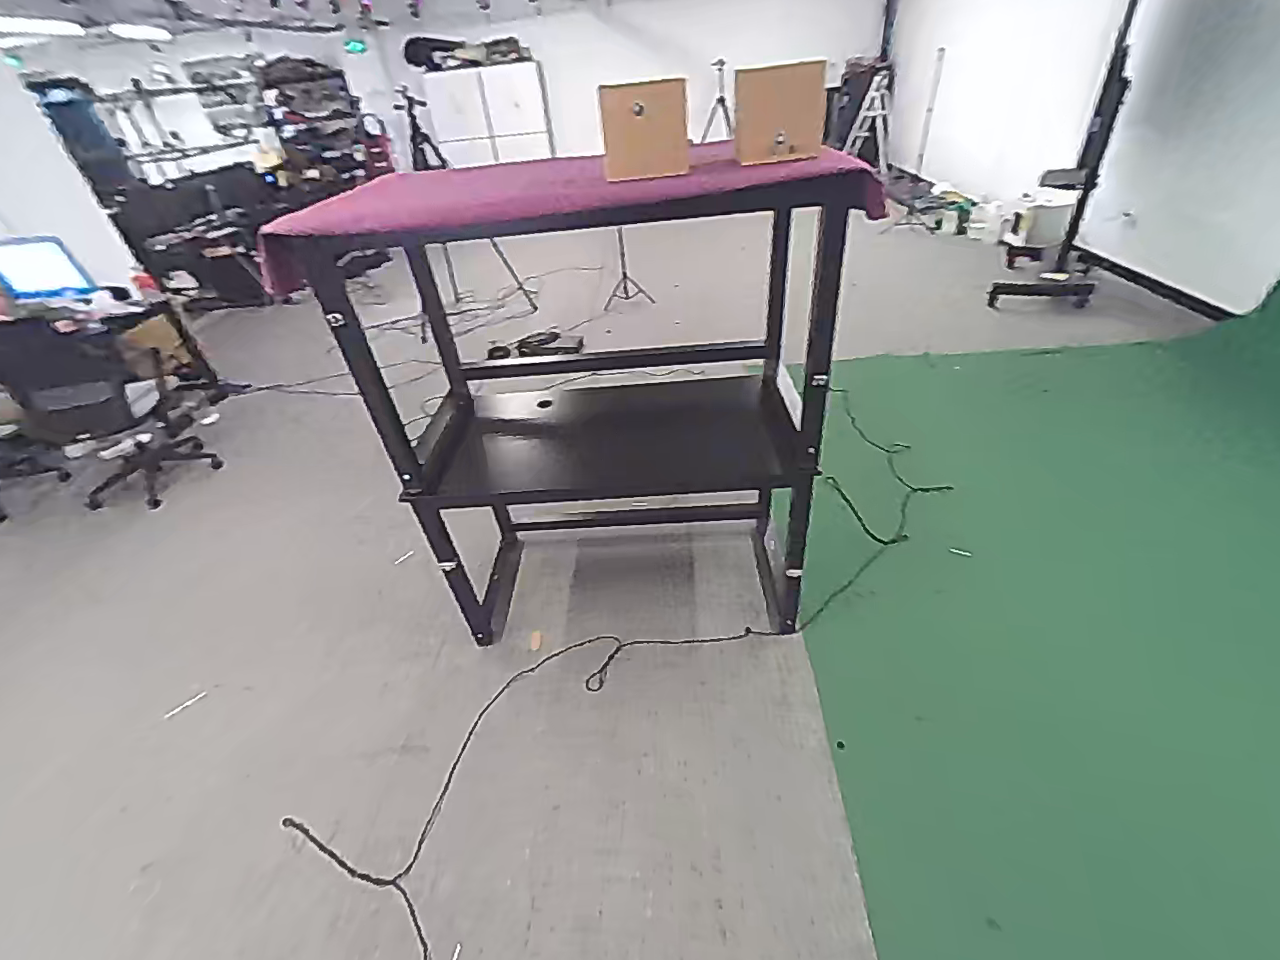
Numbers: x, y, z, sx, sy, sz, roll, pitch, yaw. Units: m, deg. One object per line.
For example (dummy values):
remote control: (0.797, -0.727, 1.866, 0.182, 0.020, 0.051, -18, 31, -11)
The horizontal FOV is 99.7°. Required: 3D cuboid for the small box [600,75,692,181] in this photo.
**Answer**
small box: (0.017, -0.747, 1.151, 0.179, 0.176, 0.168, -3, 37, 4)
